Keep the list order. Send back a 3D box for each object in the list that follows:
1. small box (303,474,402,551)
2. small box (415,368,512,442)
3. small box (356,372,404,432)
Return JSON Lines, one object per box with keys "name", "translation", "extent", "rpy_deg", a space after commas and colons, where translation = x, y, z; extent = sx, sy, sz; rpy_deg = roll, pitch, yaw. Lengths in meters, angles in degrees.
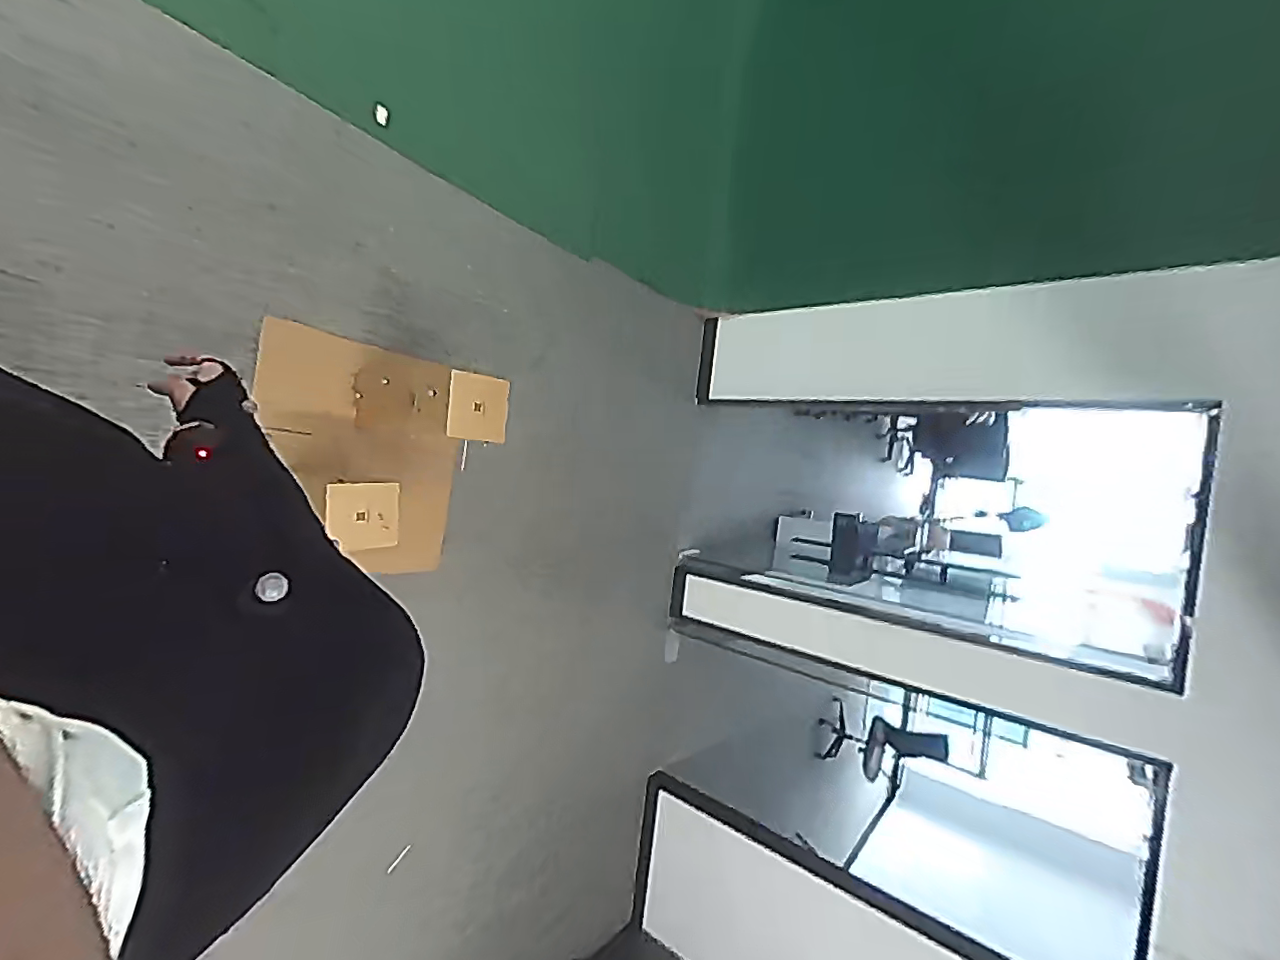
{"name": "small box", "translation": [-0.728, 0.077, 1.366], "extent": [0.179, 0.176, 0.168], "rpy_deg": [-1, 98, -51]}
{"name": "small box", "translation": [-0.461, -0.191, 1.405], "extent": [0.179, 0.176, 0.168], "rpy_deg": [3, 93, -52]}
{"name": "small box", "translation": [-0.714, -0.229, 1.606], "extent": [0.179, 0.176, 0.168], "rpy_deg": [-3, 99, -51]}
